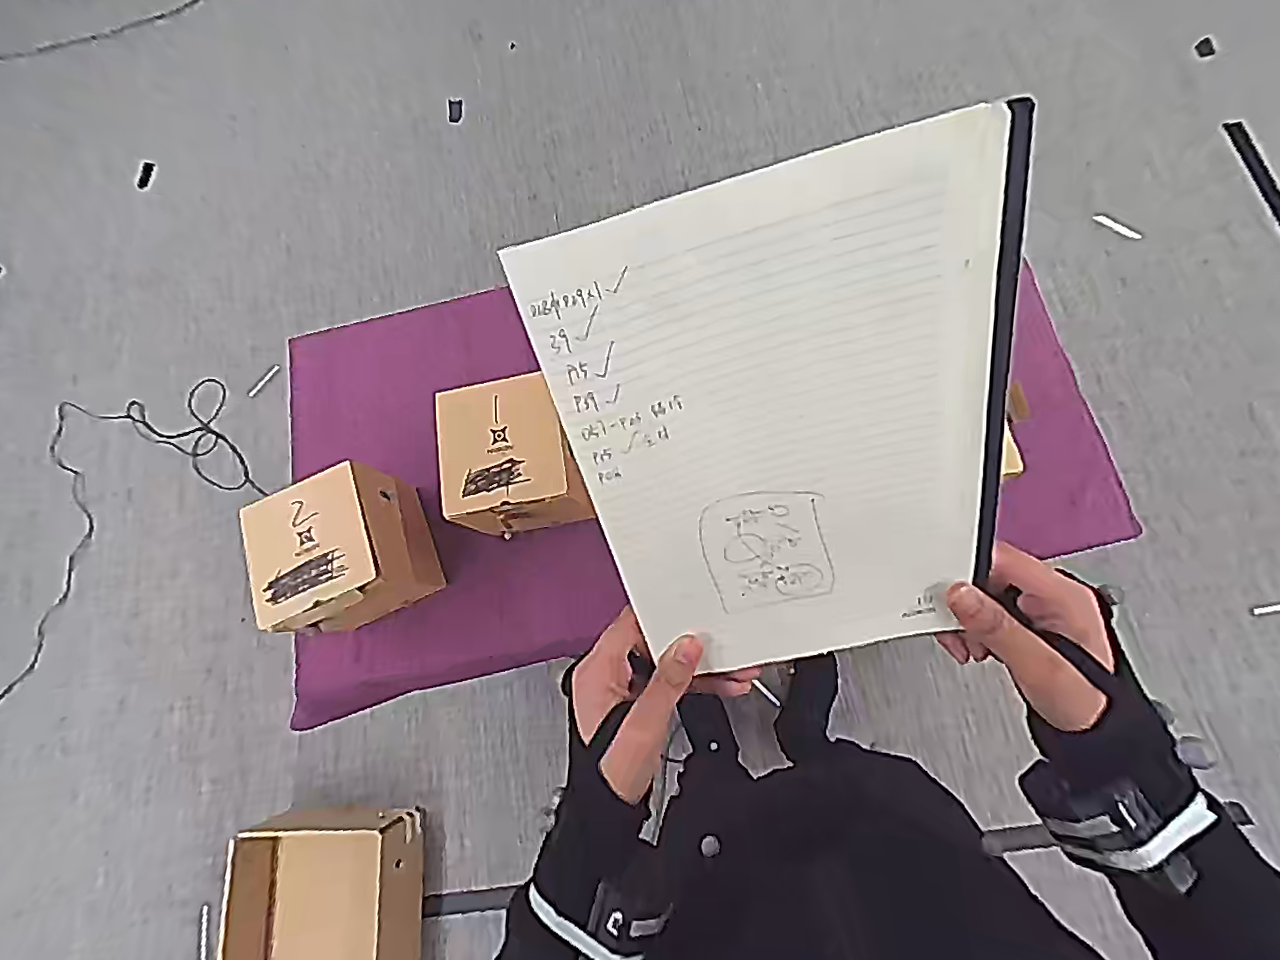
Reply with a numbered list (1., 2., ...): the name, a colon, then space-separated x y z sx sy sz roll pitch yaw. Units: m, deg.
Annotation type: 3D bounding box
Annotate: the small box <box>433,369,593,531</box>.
1. small box: -0.170 -0.029 0.764 0.168 0.176 0.179 -11 75 5
